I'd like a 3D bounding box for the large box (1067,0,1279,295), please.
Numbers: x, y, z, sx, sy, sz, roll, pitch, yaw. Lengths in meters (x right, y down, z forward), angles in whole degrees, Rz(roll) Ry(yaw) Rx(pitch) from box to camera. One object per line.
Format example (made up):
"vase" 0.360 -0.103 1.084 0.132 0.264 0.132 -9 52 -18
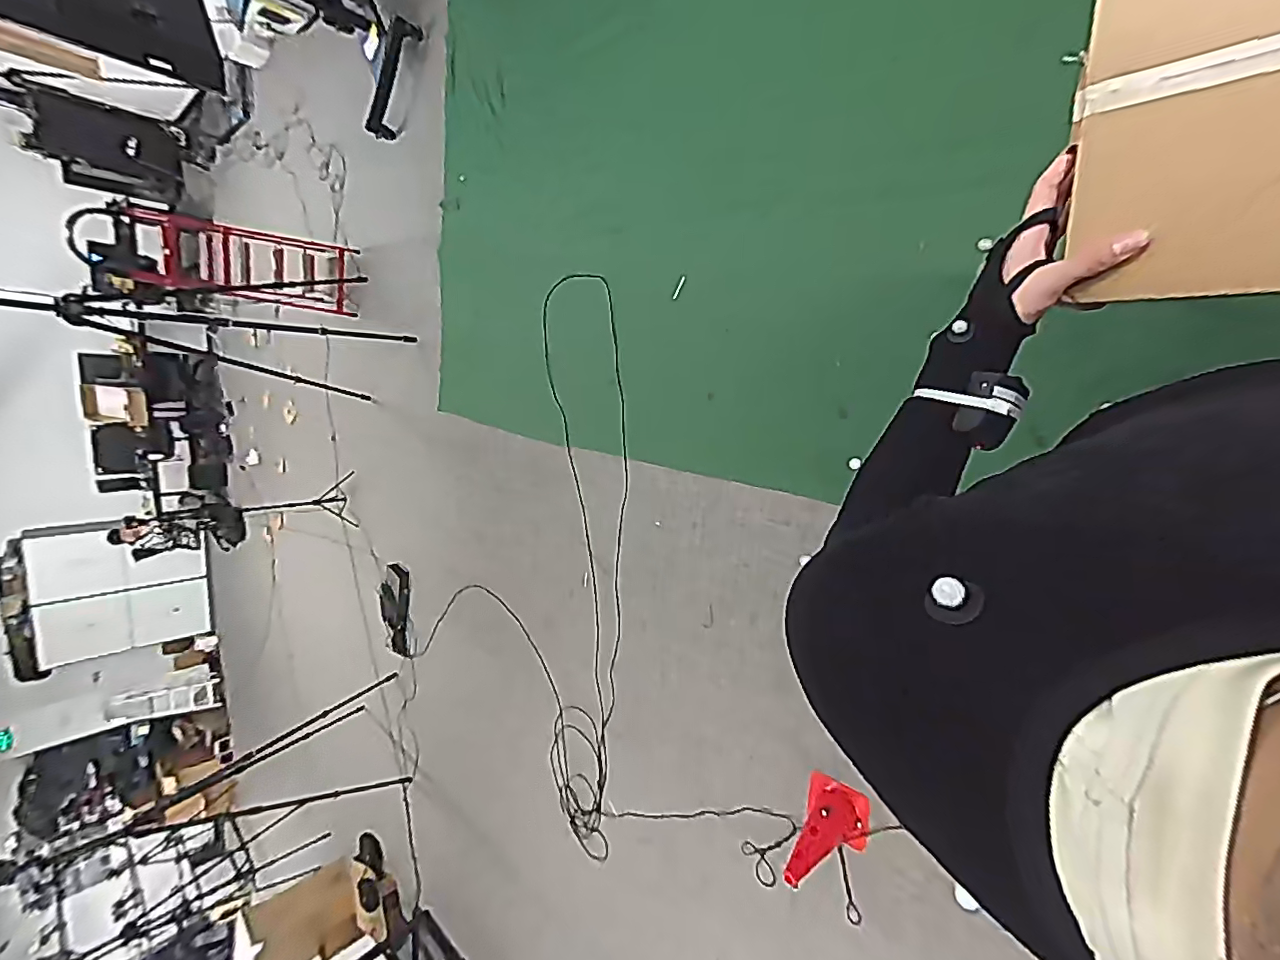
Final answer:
"large box" 0.607 -0.328 0.404 0.408 0.320 0.320 11 115 43
